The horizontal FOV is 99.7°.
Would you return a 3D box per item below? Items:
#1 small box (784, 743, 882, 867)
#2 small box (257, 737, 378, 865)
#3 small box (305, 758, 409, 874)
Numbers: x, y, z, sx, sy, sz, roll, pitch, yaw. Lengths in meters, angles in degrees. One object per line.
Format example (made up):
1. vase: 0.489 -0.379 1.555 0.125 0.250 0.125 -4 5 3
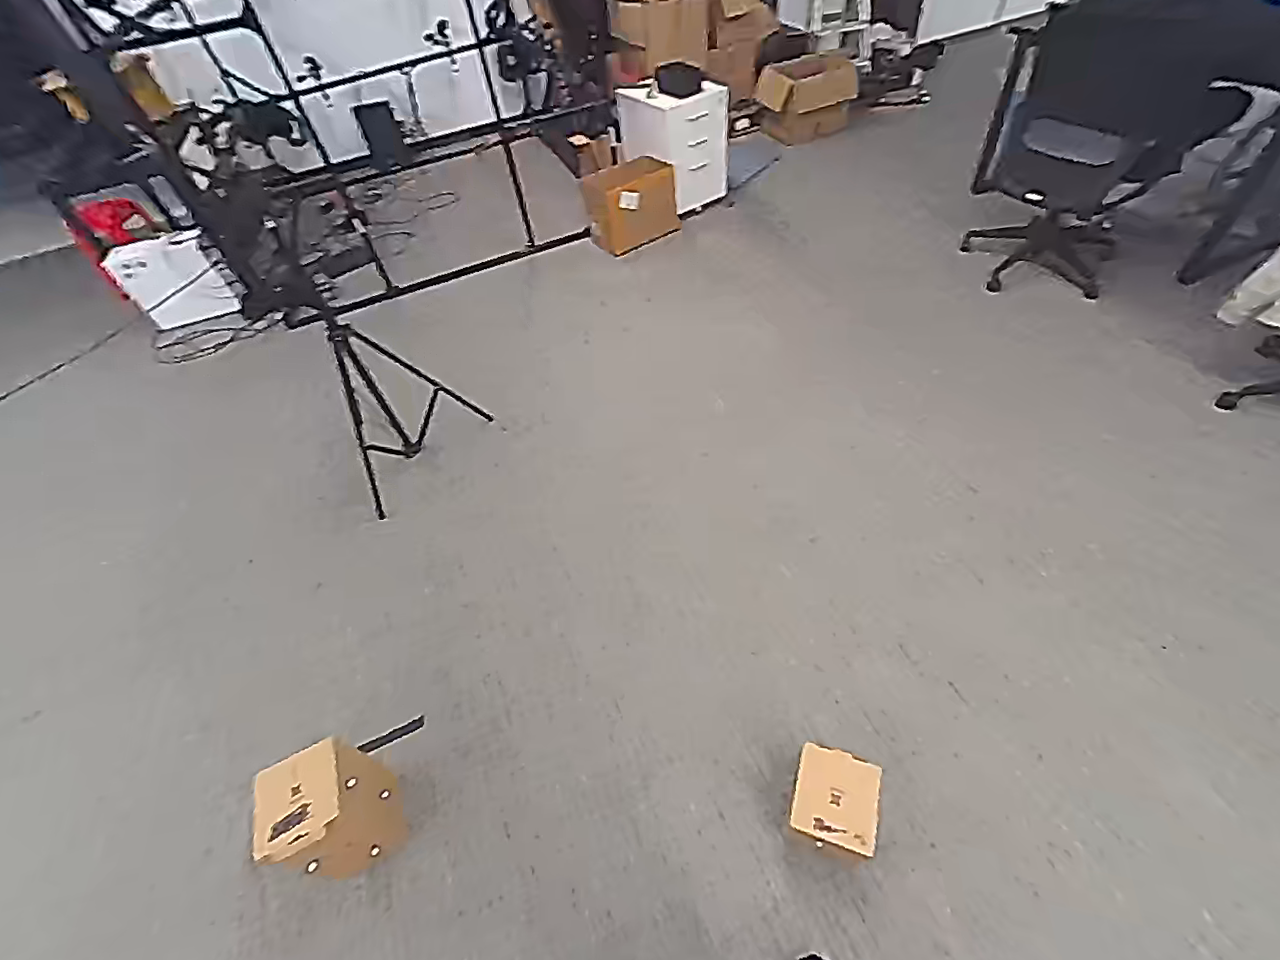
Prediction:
1. small box: 0.420 0.720 1.194 0.168 0.176 0.179 13 53 18
2. small box: -0.688 0.697 1.166 0.168 0.176 0.179 -24 50 -13
3. small box: -0.675 0.806 1.289 0.168 0.176 0.179 -25 49 -13
